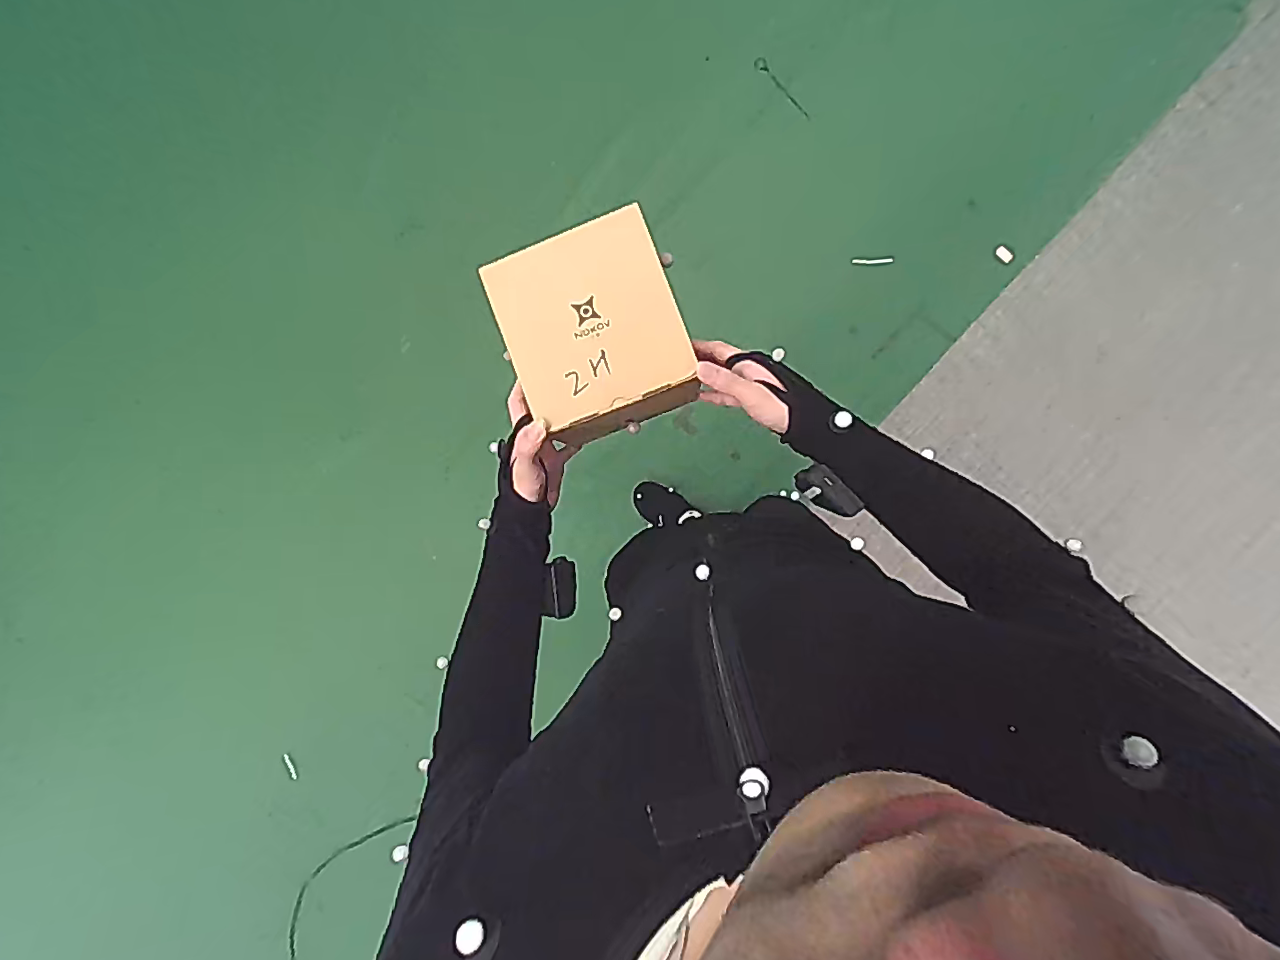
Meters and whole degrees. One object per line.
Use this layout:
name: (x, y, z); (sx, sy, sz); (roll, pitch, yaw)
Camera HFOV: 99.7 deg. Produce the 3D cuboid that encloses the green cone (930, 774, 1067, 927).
green cone: (0.970, 0.995, 1.415); (0.200, 0.368, 0.202); (42, 94, 1)
